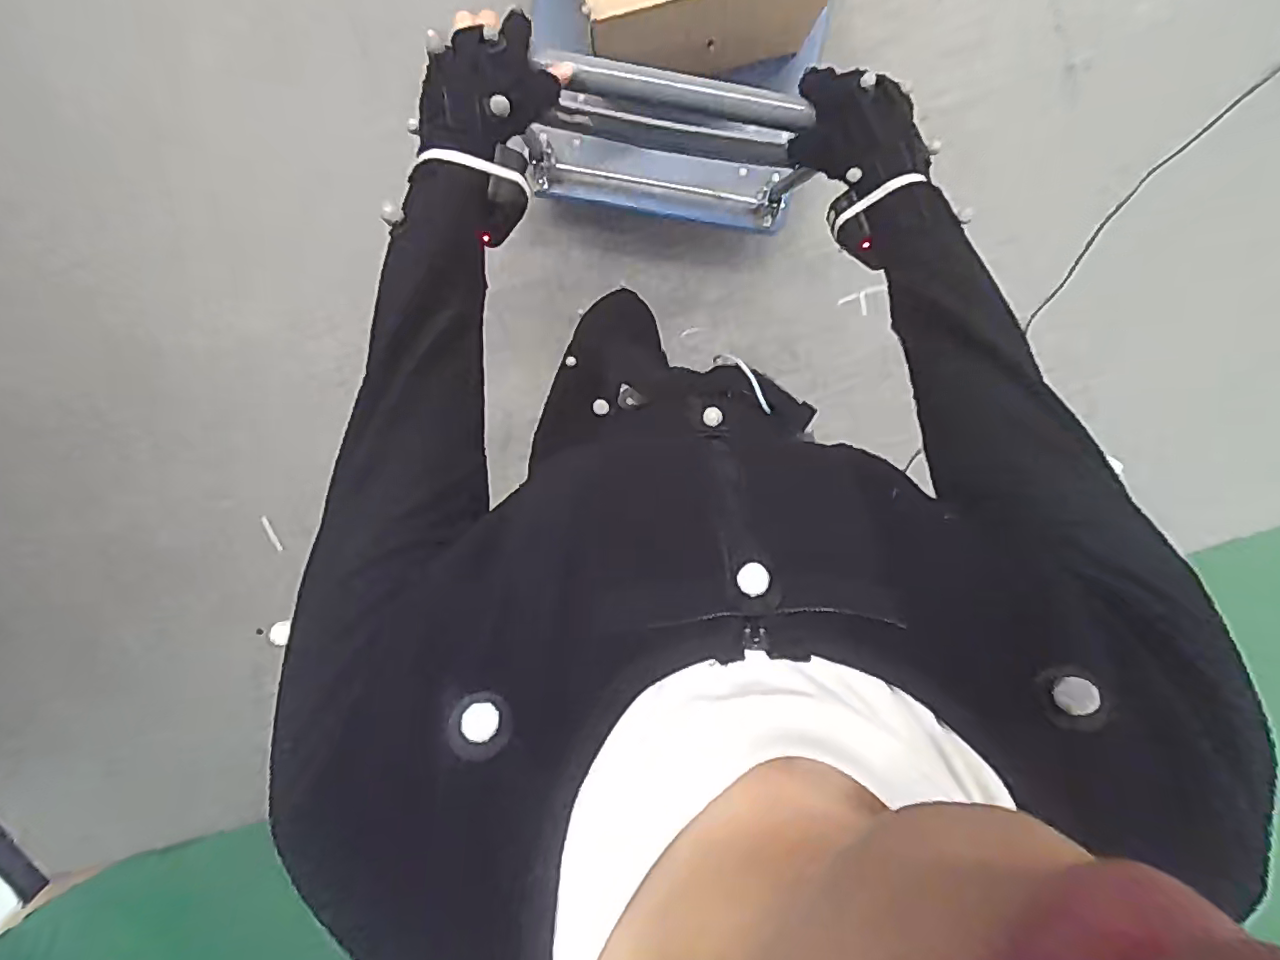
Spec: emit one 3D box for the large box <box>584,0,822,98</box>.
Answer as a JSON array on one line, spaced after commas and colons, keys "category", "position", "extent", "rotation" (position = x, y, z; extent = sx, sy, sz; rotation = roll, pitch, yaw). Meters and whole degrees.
[{"category": "large box", "position": [0.089, -0.920, 0.909], "extent": [0.408, 0.320, 0.320], "rotation": [-13, 105, 5]}]
